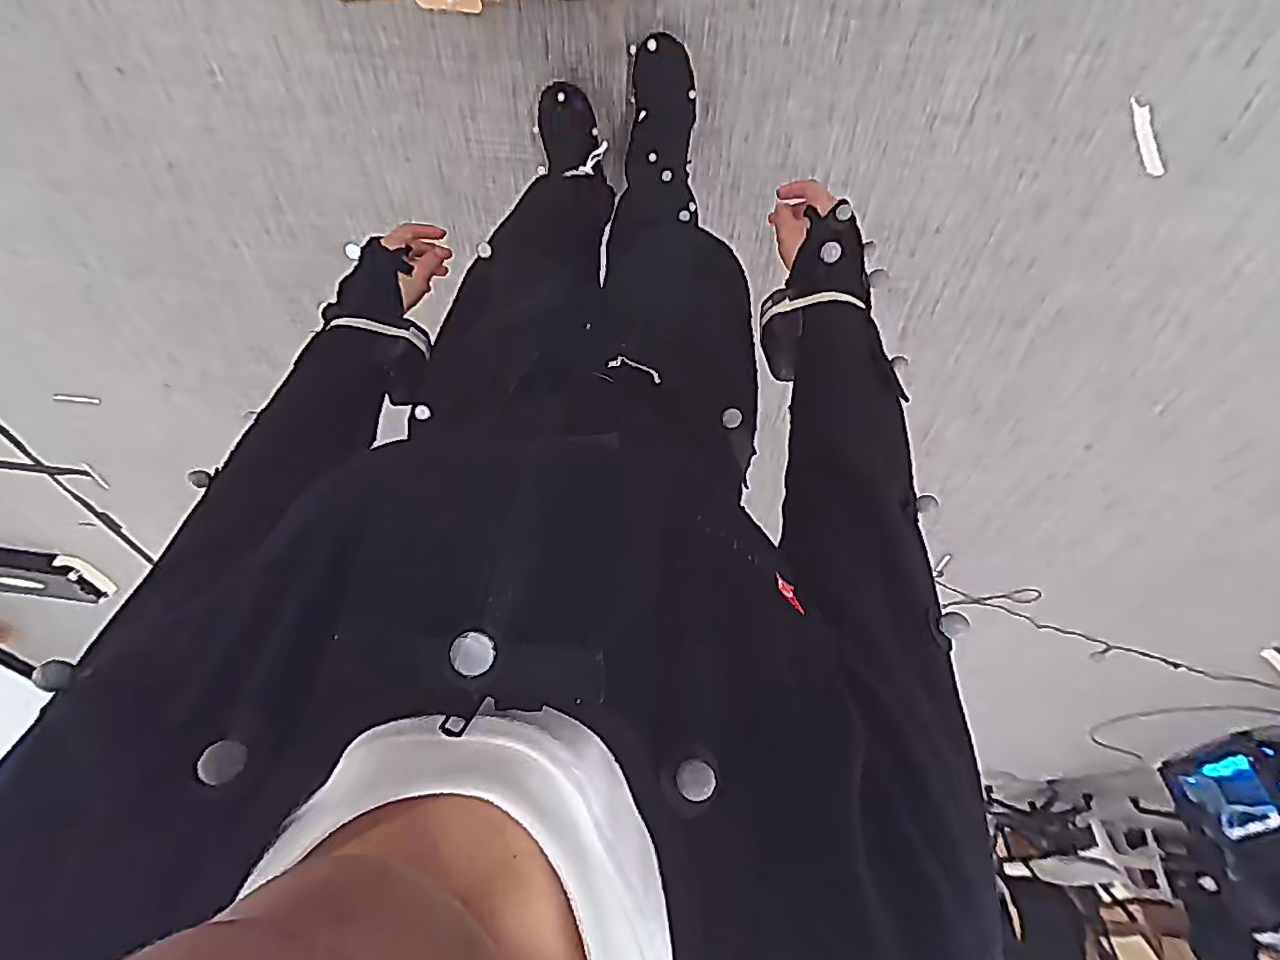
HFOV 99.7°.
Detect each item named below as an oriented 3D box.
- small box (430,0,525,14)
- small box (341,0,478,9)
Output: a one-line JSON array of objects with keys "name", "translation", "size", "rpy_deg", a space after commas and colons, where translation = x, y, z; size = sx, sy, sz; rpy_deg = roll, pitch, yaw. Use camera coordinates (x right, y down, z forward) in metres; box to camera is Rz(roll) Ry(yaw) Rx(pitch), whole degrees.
[{"name": "small box", "translation": [-0.265, -0.817, 0.794], "size": [0.168, 0.176, 0.179], "rpy_deg": [7, 136, 1]}, {"name": "small box", "translation": [-0.285, -0.707, 0.676], "size": [0.179, 0.176, 0.168], "rpy_deg": [1, 136, 6]}]
